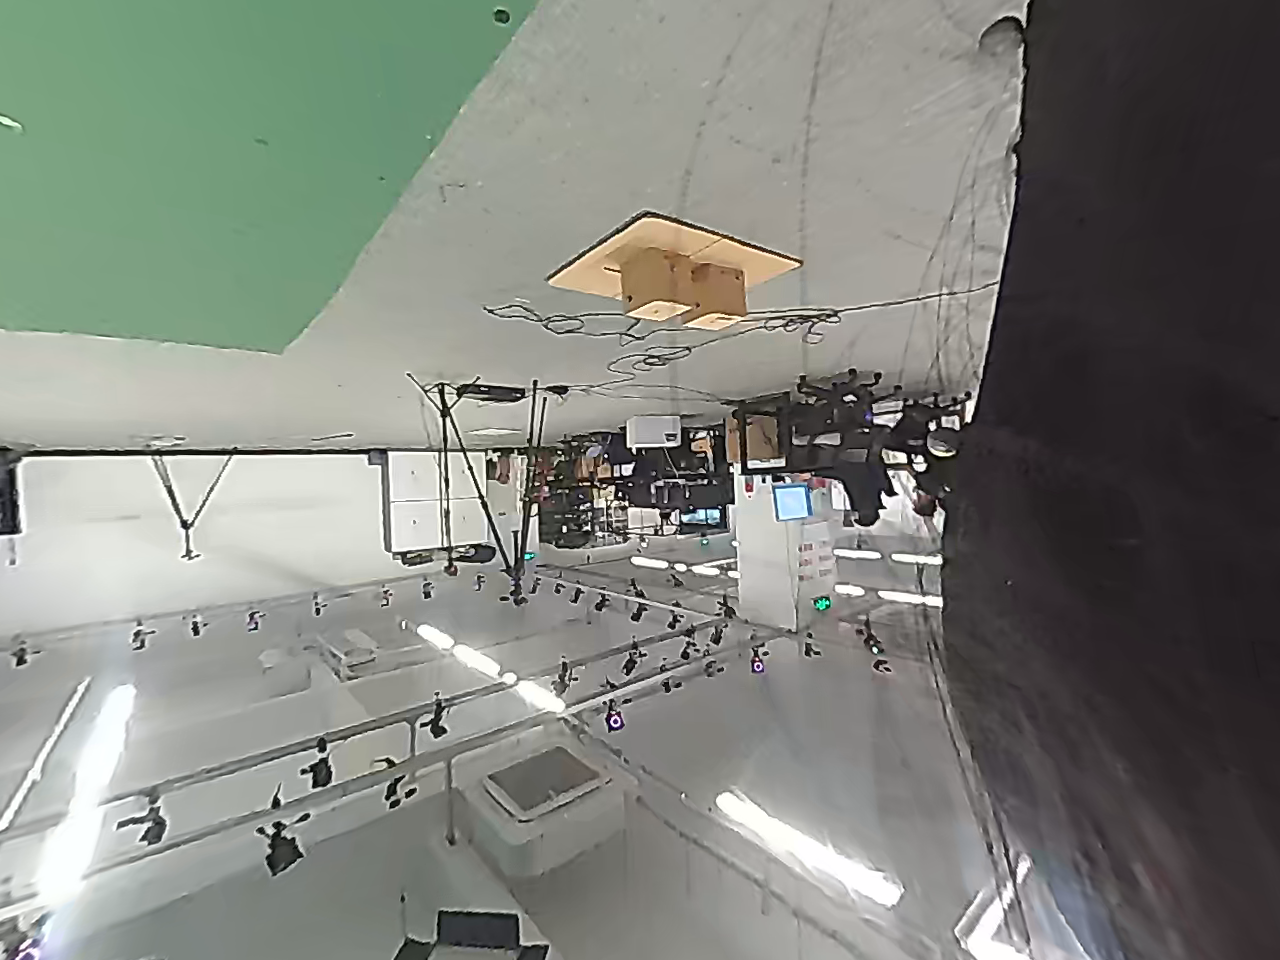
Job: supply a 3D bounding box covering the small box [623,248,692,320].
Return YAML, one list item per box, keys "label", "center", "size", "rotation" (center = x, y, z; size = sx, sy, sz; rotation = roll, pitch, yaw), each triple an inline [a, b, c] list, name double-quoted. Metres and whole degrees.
- label: "small box"
  center: [0.055, -0.646, 1.798]
  size: [0.168, 0.176, 0.179]
  rotation: [-4, -179, -37]

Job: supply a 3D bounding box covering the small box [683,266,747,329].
- label: "small box"
  center: [0.261, -0.653, 1.943]
  size: [0.168, 0.176, 0.179]
  rotation: [-3, -179, -32]
